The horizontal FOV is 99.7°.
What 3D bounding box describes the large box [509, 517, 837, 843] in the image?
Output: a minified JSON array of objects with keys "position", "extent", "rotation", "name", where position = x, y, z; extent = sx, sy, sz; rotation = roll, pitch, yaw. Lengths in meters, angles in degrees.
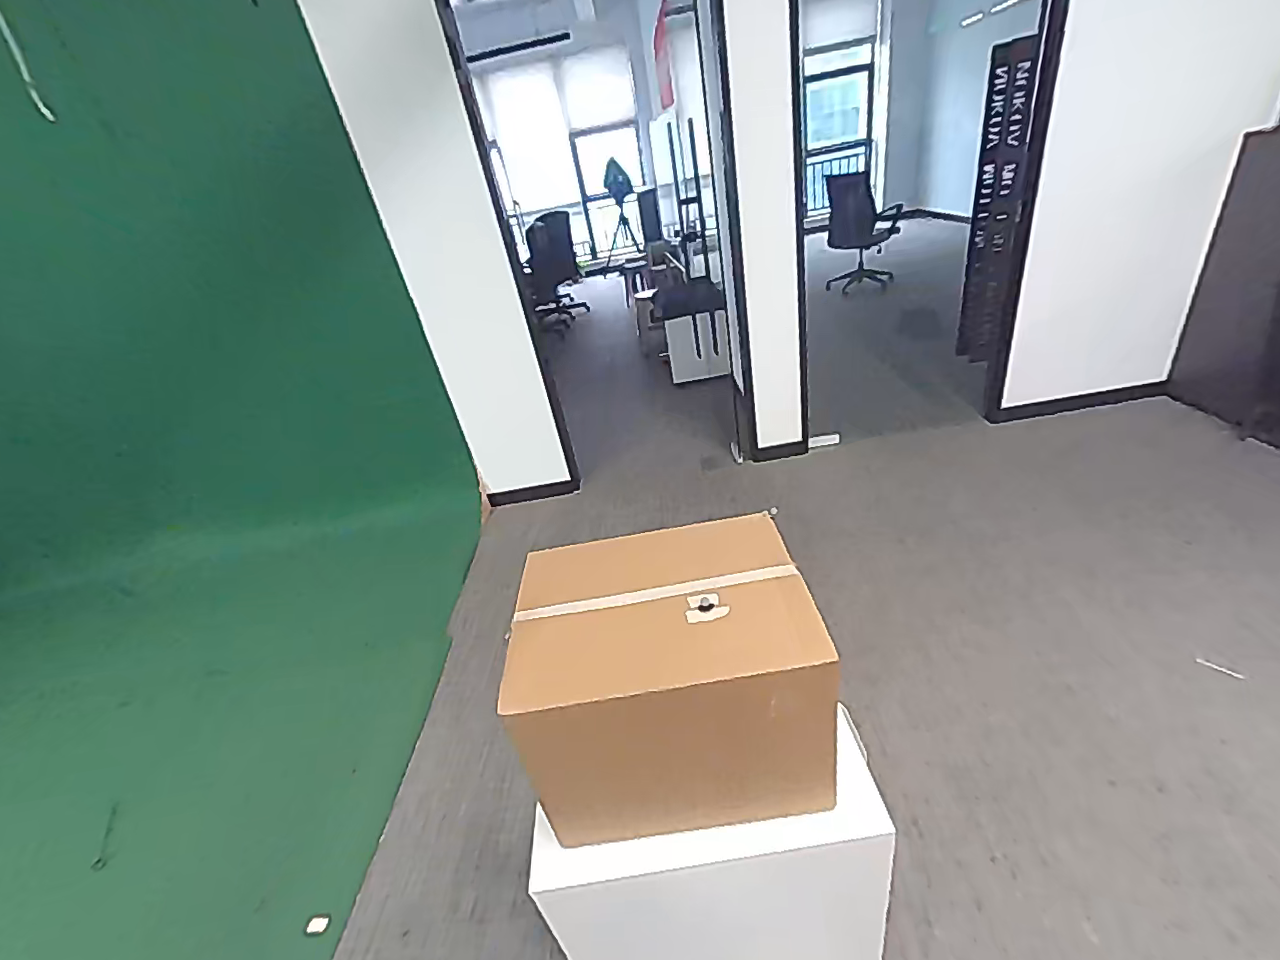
[{"position":[0.049,0.295,0.835],"extent":[0.408,0.320,0.320],"rotation":[-9,30,1],"name":"large box"}]
